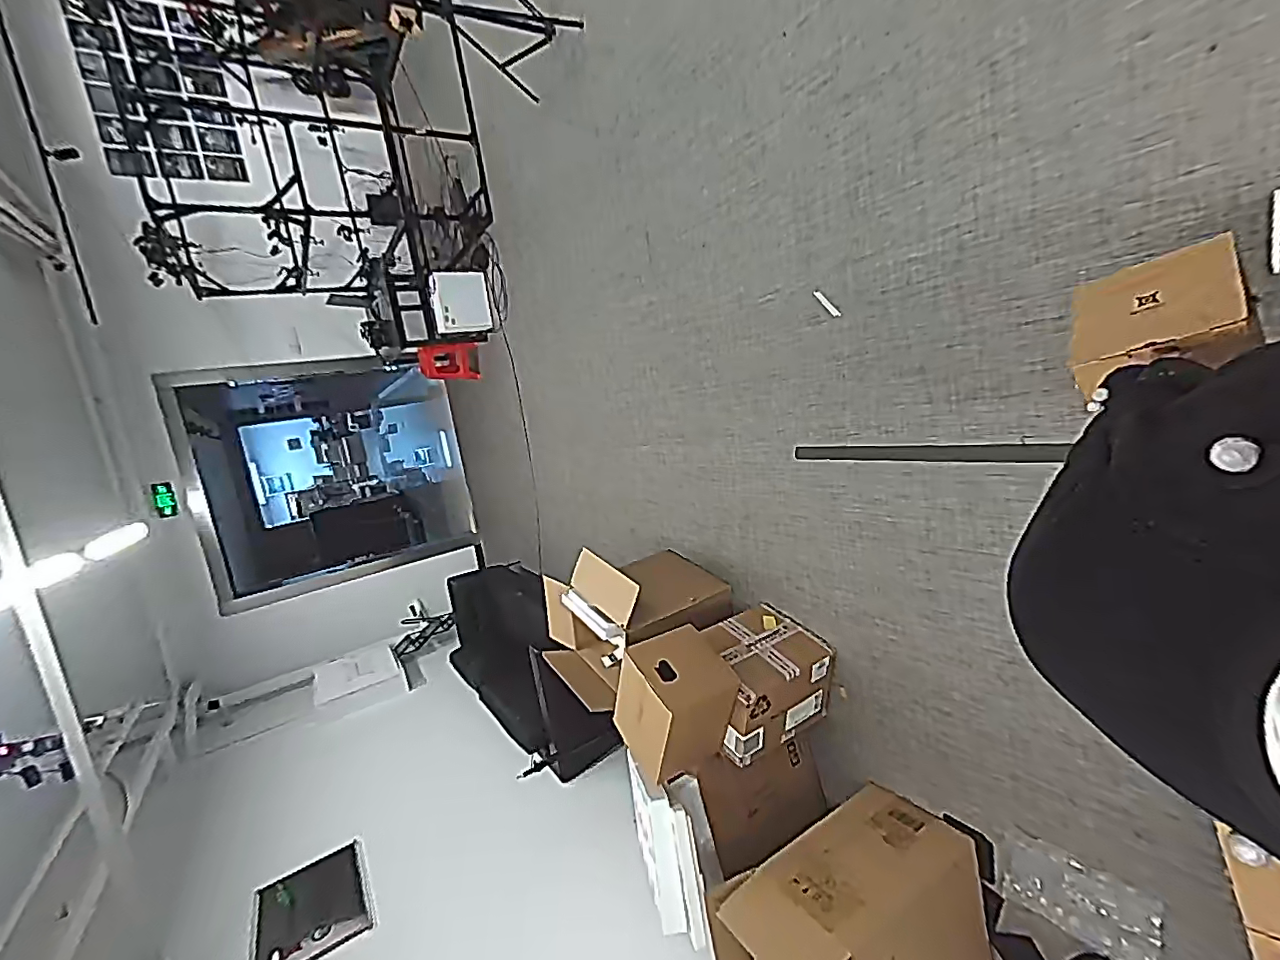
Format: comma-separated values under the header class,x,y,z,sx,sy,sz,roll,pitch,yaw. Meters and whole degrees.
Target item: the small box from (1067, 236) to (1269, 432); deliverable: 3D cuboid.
class,x,y,z,sx,sy,sz,roll,pitch,yaw
small box,0.718,-0.184,0.743,0.176,0.179,0.168,41,149,-25
